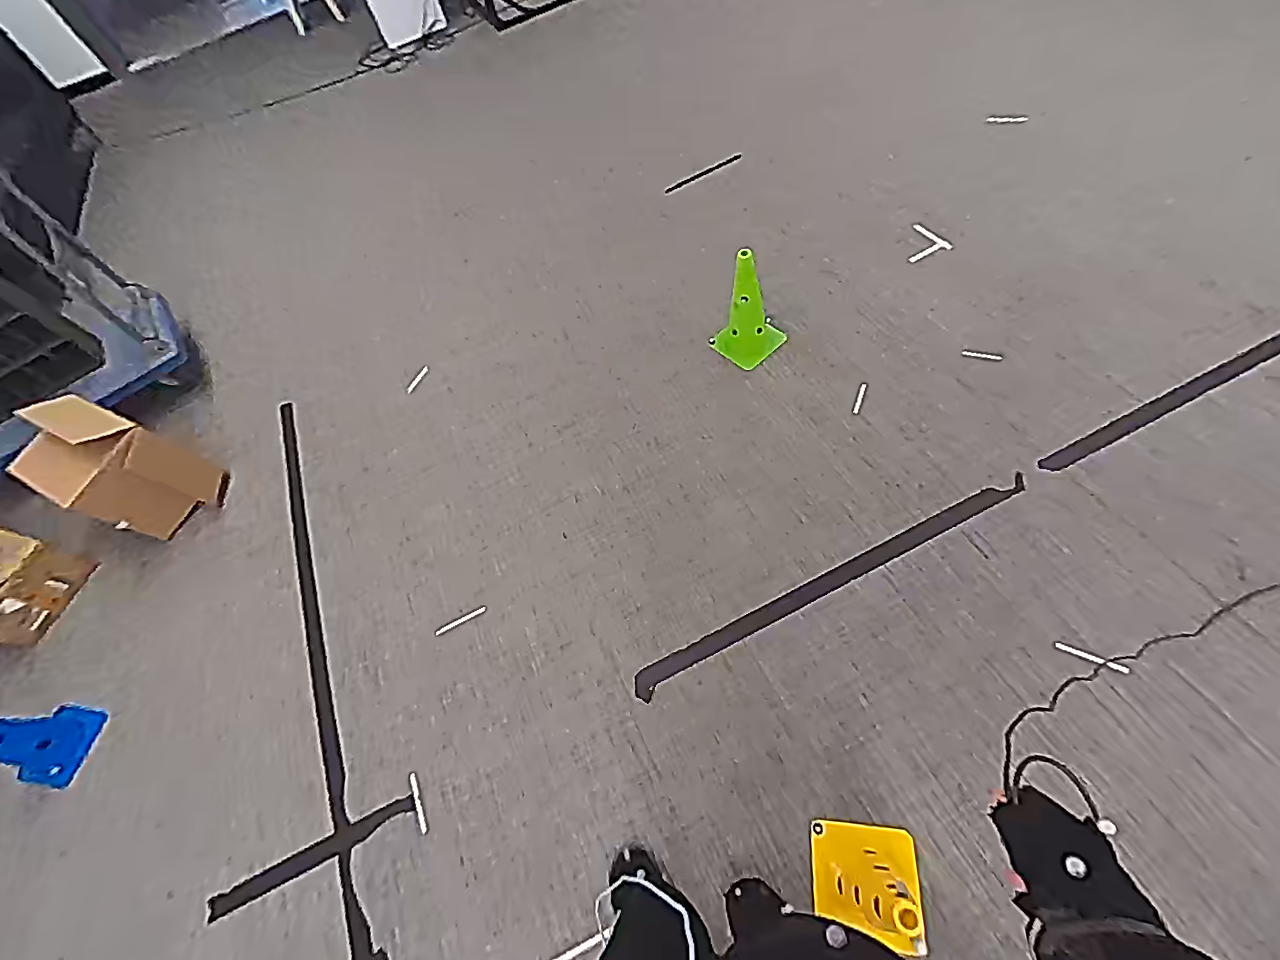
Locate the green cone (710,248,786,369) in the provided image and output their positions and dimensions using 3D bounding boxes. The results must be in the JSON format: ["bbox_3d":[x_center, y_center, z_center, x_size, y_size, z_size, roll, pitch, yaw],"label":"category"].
[{"bbox_3d":[0.342,-0.565,1.714,0.202,0.368,0.200,-40,60,-14],"label":"green cone"}]
